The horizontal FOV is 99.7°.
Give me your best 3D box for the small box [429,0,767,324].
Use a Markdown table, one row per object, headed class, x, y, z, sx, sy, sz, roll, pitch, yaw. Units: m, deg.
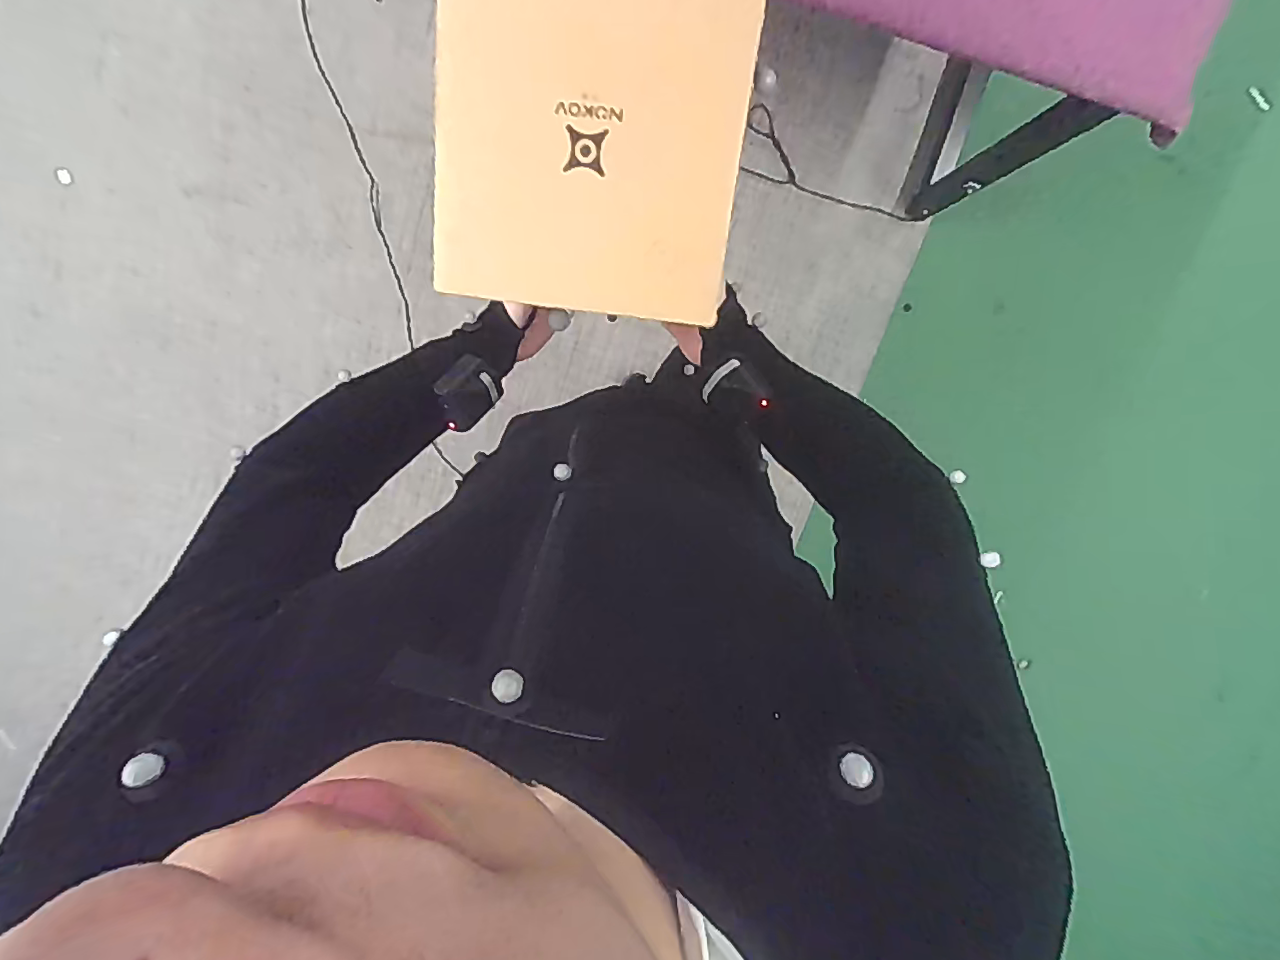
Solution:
| class | x | y | z | sx | sy | sz | roll | pitch | yaw |
| --- | --- | --- | --- | --- | --- | --- | --- | --- | --- |
| small box | -0.022 | -0.202 | 0.355 | 0.168 | 0.176 | 0.179 | 7 | 106 | 1 |
